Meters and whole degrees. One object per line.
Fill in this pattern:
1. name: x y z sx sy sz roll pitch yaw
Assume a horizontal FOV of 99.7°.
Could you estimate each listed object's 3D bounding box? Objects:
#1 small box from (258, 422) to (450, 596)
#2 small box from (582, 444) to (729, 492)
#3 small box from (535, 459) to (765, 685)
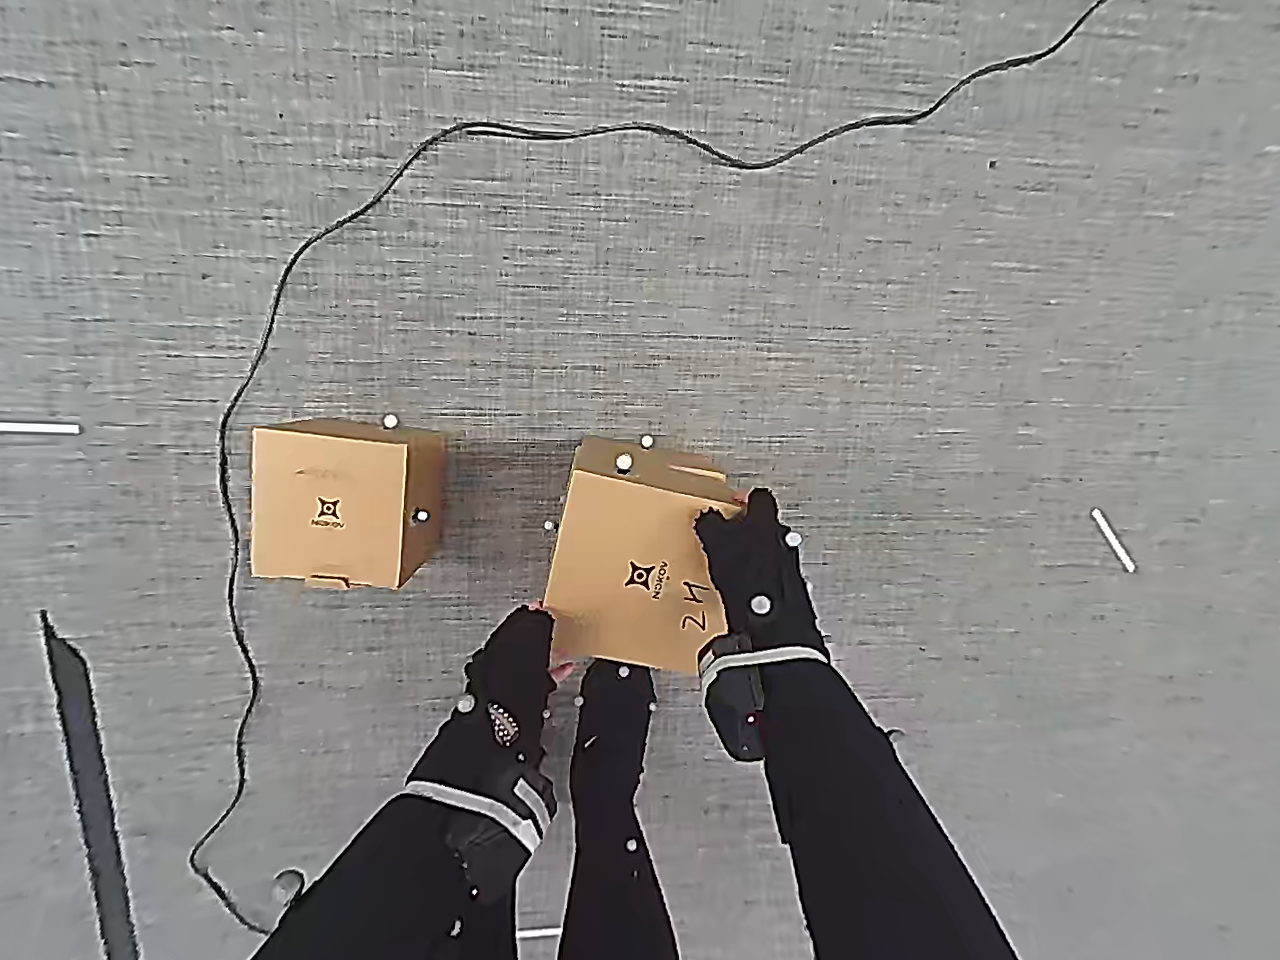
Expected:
1. small box: -0.352 0.028 0.692 0.168 0.176 0.179 7 100 -6
2. small box: 0.001 0.050 0.722 0.179 0.176 0.168 10 100 -6
3. small box: 0.002 0.080 0.559 0.179 0.176 0.168 13 99 -7
